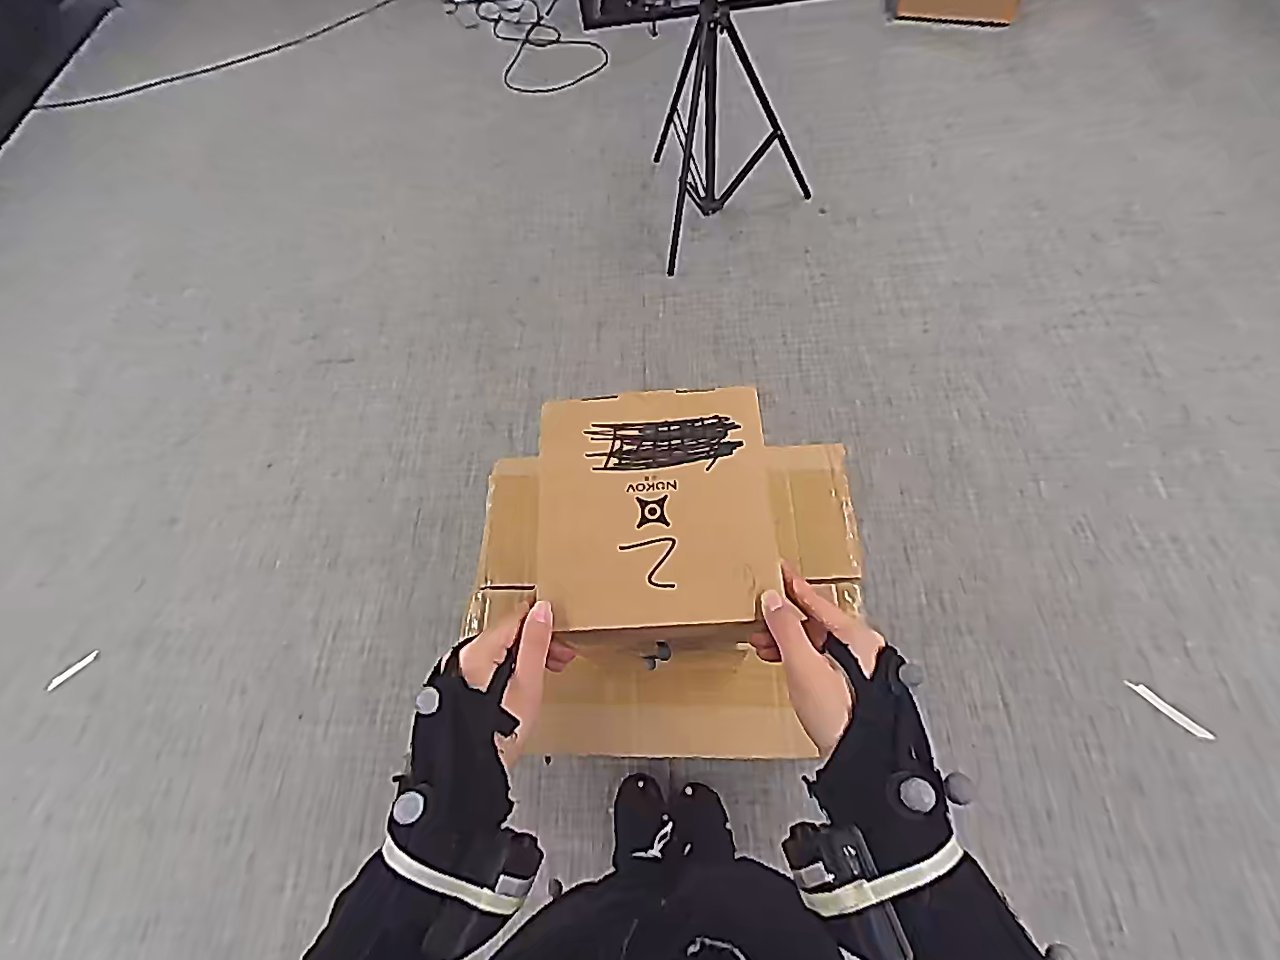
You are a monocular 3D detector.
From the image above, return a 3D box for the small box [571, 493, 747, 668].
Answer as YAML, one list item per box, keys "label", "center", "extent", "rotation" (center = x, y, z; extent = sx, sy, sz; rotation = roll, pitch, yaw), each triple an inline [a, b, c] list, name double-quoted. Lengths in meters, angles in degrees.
- label: "small box"
  center: [0.028, 0.124, 0.632]
  extent: [0.179, 0.176, 0.168]
  rotation: [-2, 64, 6]
